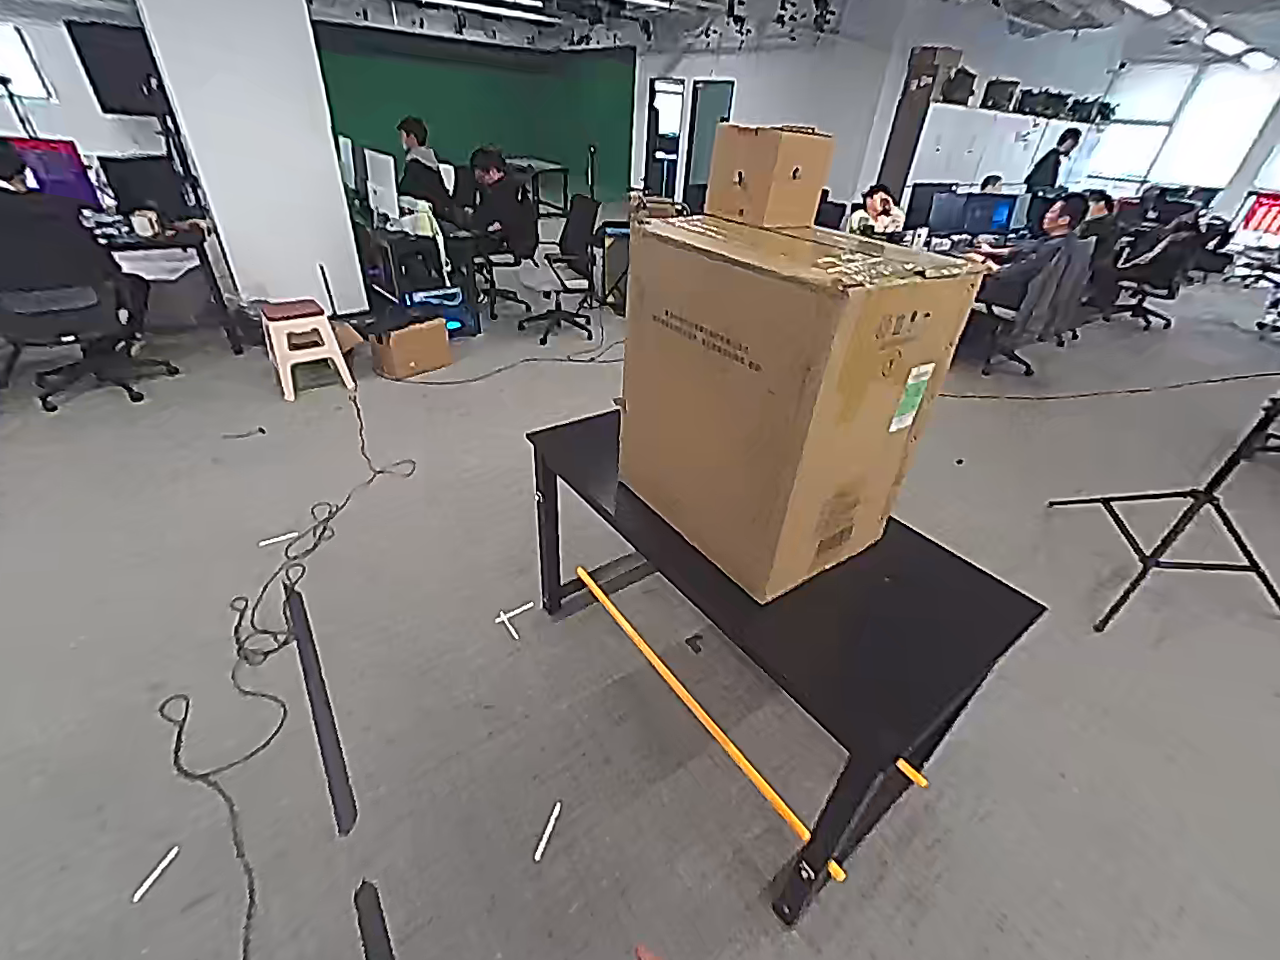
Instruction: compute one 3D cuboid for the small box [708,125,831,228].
[{"bbox_3d":[0.257,-0.621,1.110,0.179,0.176,0.168,-22,42,-35],"label":"small box"}]
